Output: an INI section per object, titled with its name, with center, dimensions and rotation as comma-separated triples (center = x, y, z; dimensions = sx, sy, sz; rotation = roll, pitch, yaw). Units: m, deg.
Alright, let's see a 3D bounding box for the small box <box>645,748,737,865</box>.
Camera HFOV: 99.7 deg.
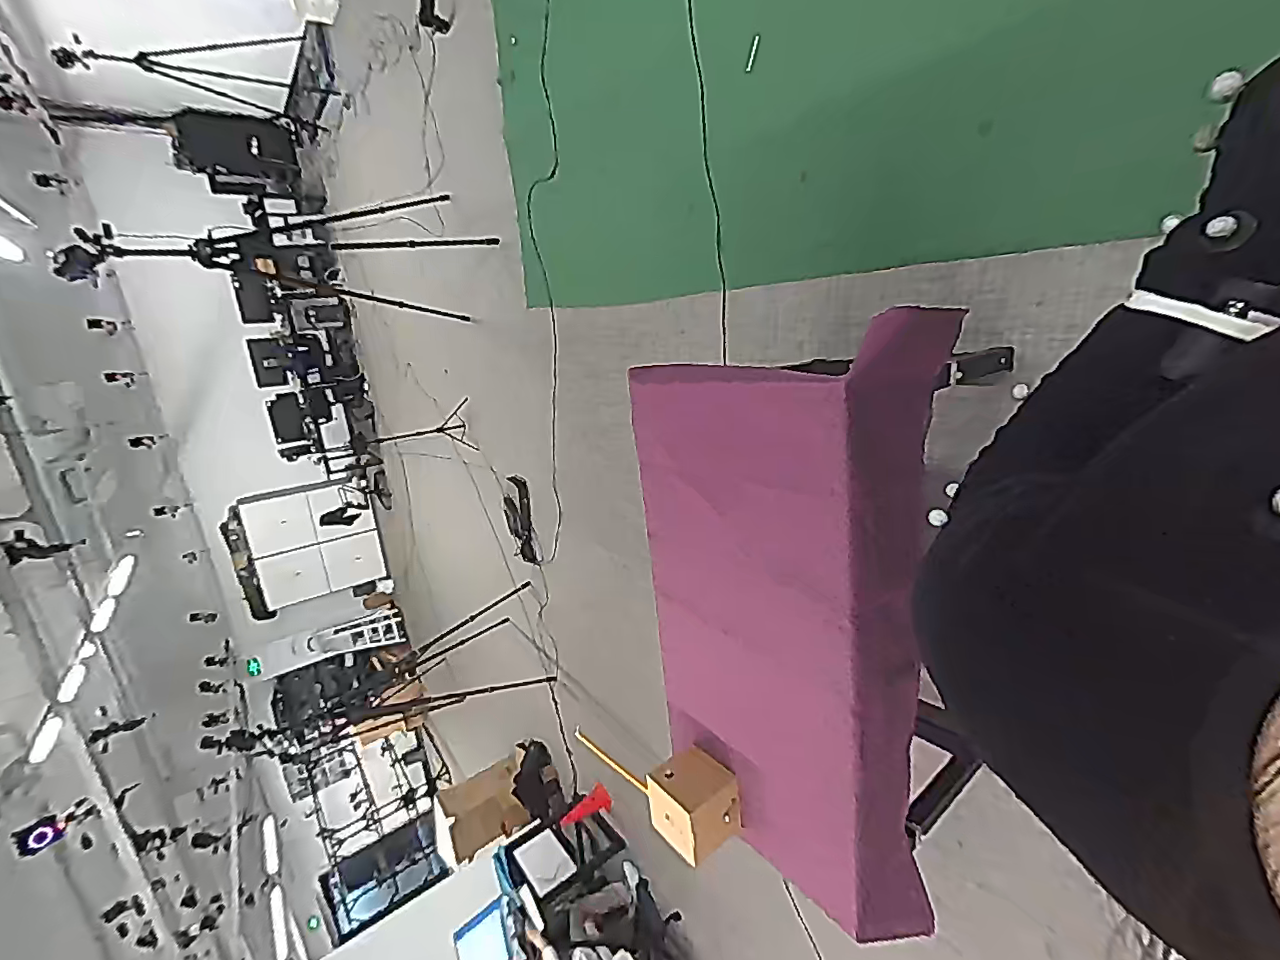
[small box]
center = 0.134, 0.844, 1.424
dimensions = 0.179, 0.176, 0.168
rotation = 13, 113, 52
